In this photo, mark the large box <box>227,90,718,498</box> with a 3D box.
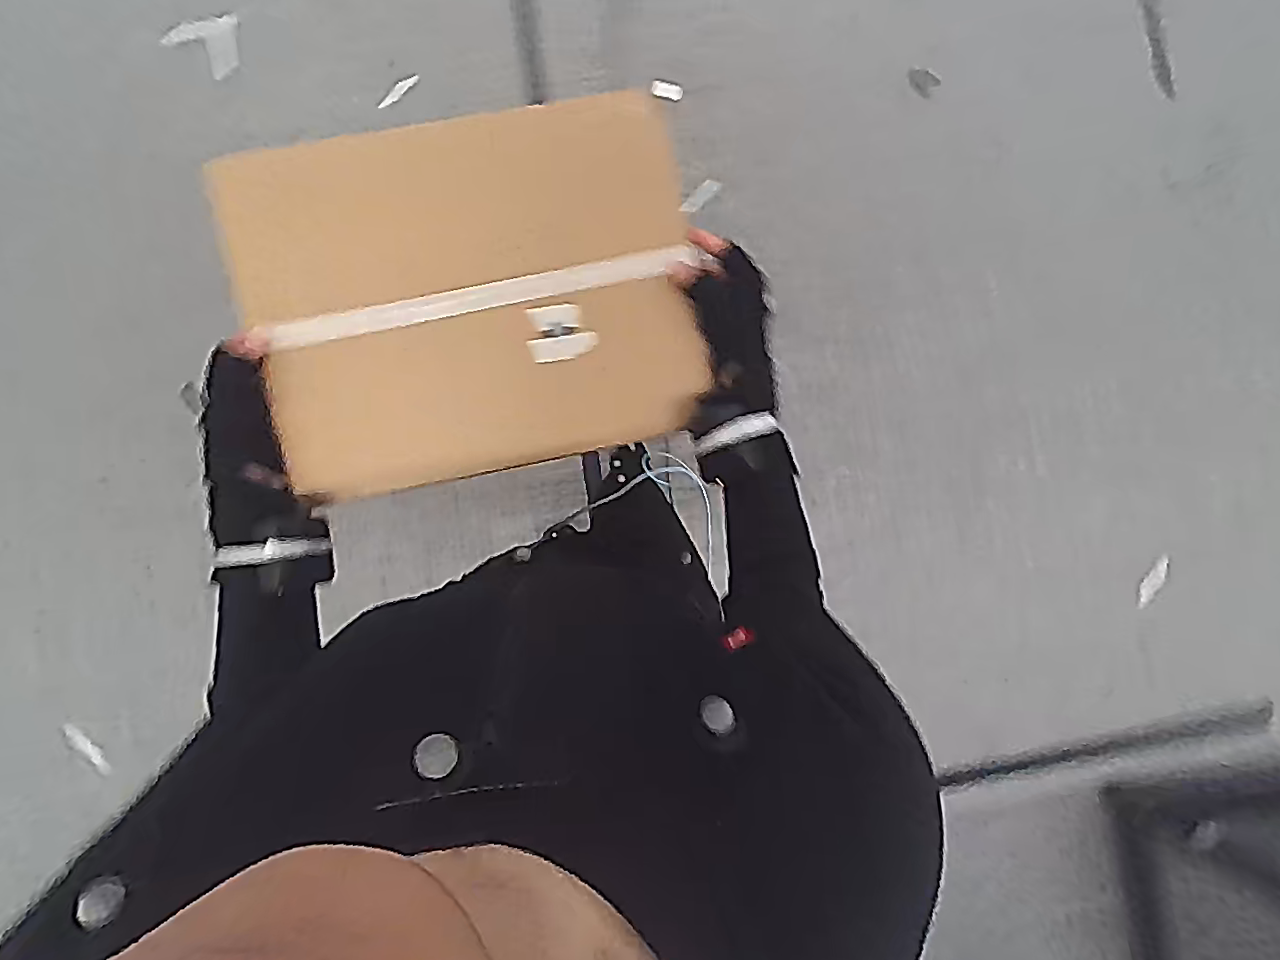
[{"bbox_3d":[-0.160,-0.185,0.655,0.408,0.320,0.320,-13,96,-5],"label":"large box"}]
